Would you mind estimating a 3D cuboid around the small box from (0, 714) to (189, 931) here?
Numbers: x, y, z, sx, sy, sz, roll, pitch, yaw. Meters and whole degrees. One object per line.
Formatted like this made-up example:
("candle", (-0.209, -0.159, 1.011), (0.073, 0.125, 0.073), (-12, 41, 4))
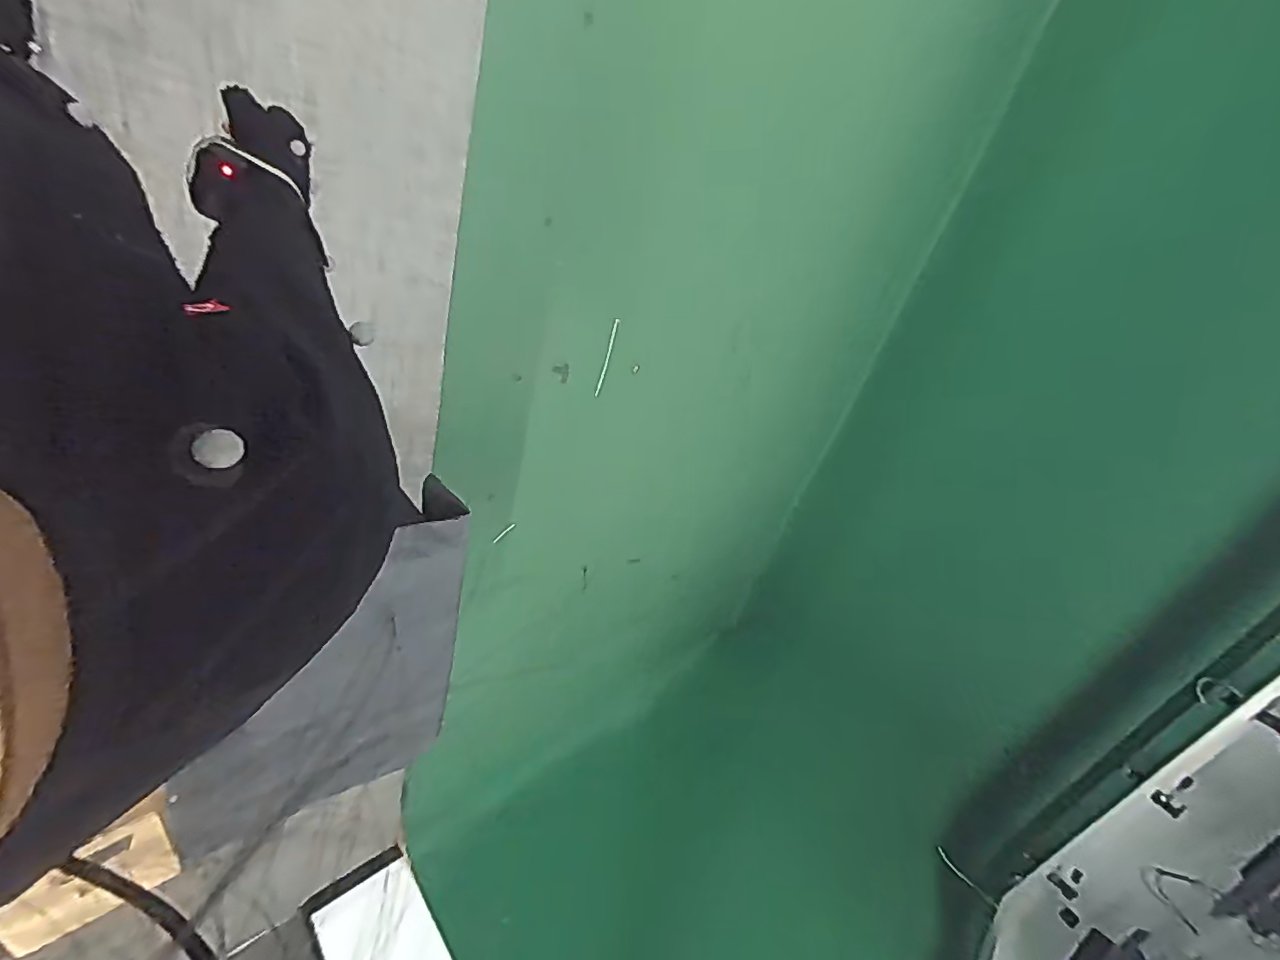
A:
("small box", (-0.766, 0.460, 0.757), (0.168, 0.176, 0.179), (-15, 134, -41))
